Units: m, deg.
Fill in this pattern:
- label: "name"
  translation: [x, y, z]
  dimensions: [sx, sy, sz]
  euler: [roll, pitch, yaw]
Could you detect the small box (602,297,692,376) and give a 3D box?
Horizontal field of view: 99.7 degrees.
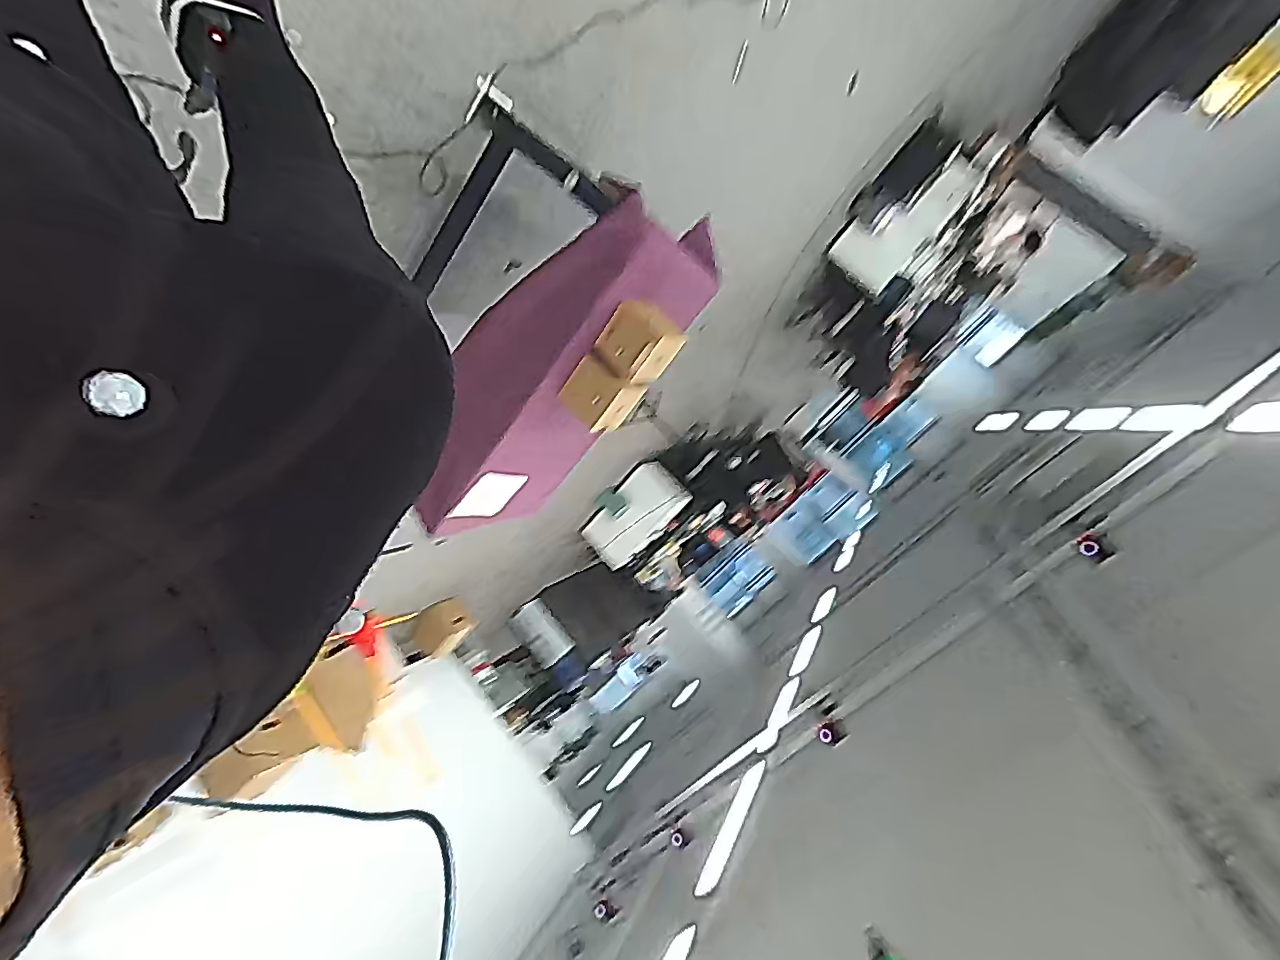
- label: "small box"
  translation: [0.018, -0.432, 1.634]
  dimensions: [0.168, 0.176, 0.179]
  euler: [-50, 164, 30]
